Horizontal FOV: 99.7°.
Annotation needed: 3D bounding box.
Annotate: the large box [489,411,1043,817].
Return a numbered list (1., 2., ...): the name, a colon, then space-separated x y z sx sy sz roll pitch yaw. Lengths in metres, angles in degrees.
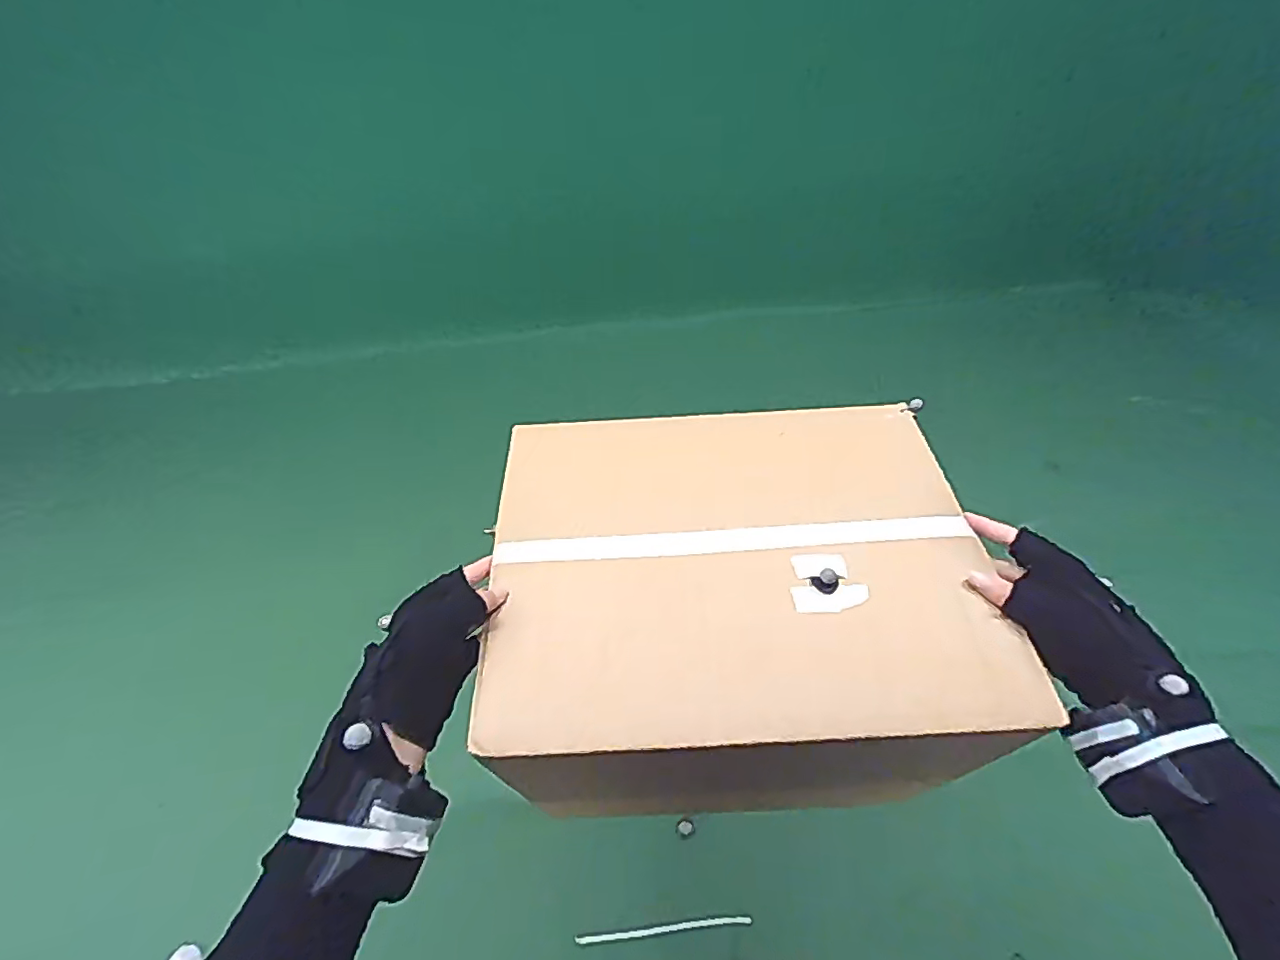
1. large box: 0.087 0.153 0.587 0.408 0.320 0.320 -4 51 1
